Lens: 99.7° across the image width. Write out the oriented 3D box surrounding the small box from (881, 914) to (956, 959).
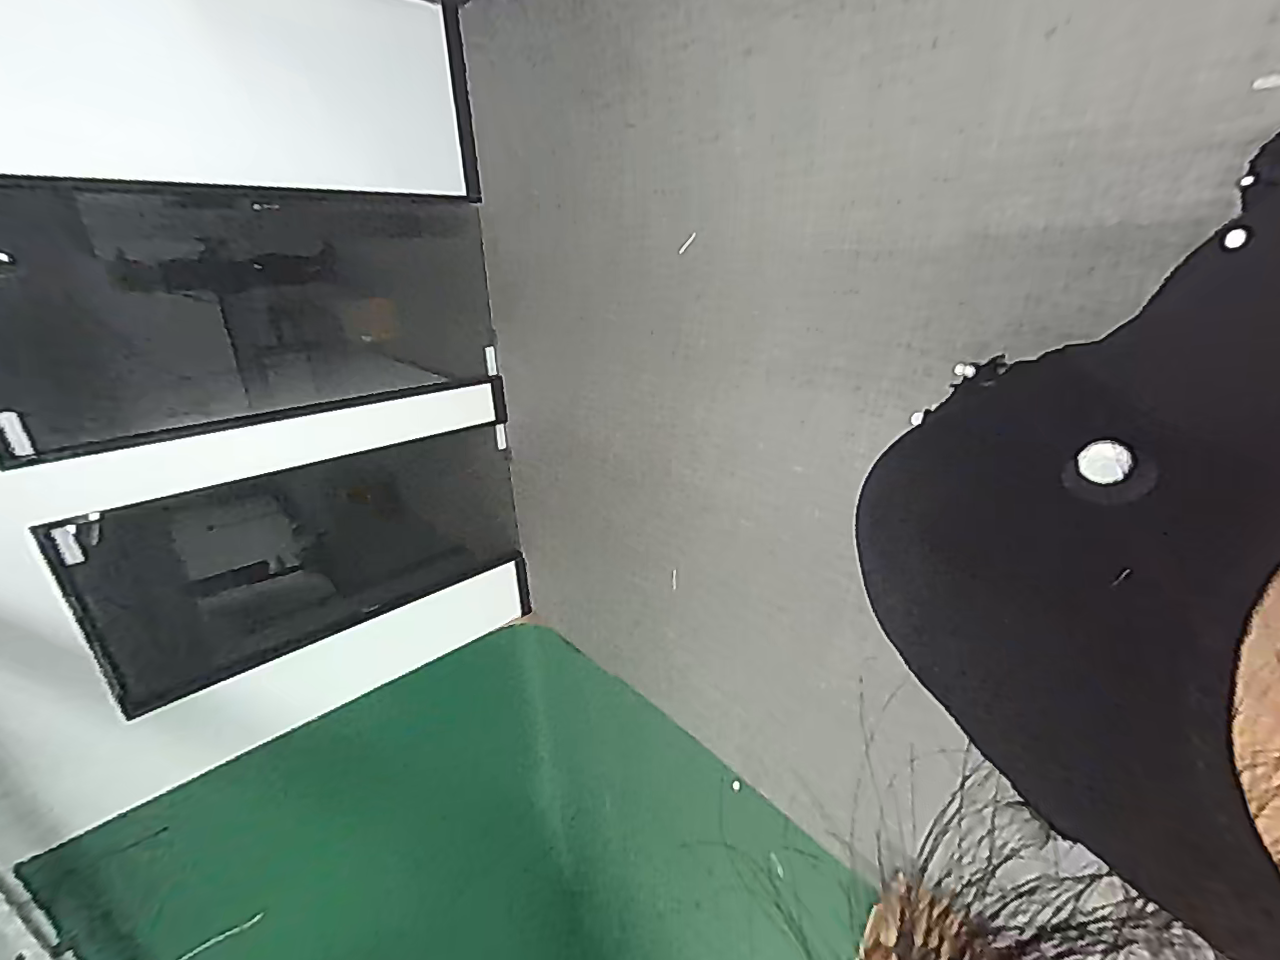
[{"bbox_3d":[0.941,1.646,1.839,0.168,0.176,0.179,31,126,38],"label":"small box"}]
